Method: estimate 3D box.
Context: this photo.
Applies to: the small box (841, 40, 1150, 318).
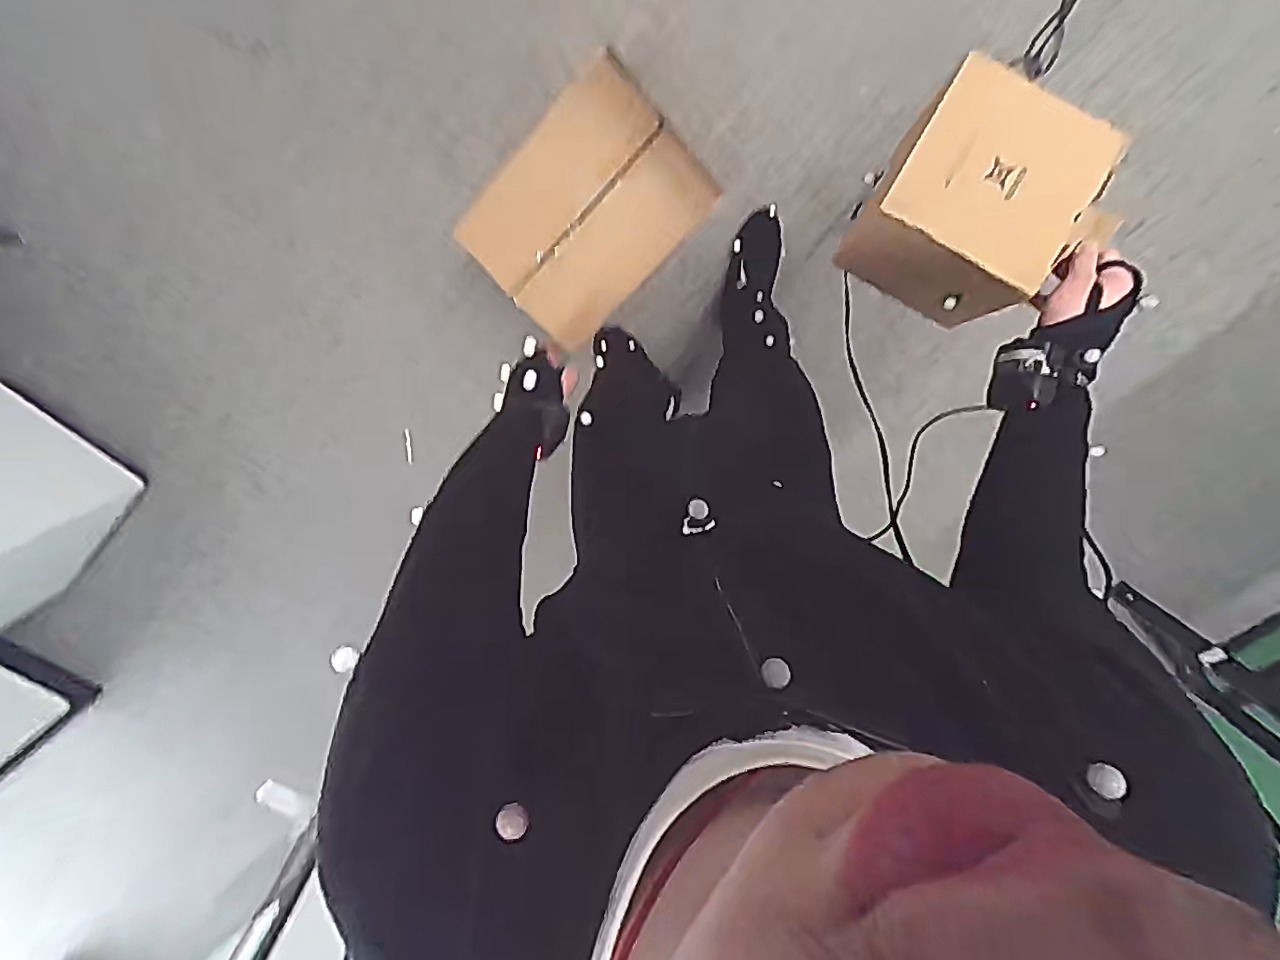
[{"bbox_3d":[0.353,-0.293,0.577,0.179,0.176,0.168,33,94,0],"label":"small box"}]
